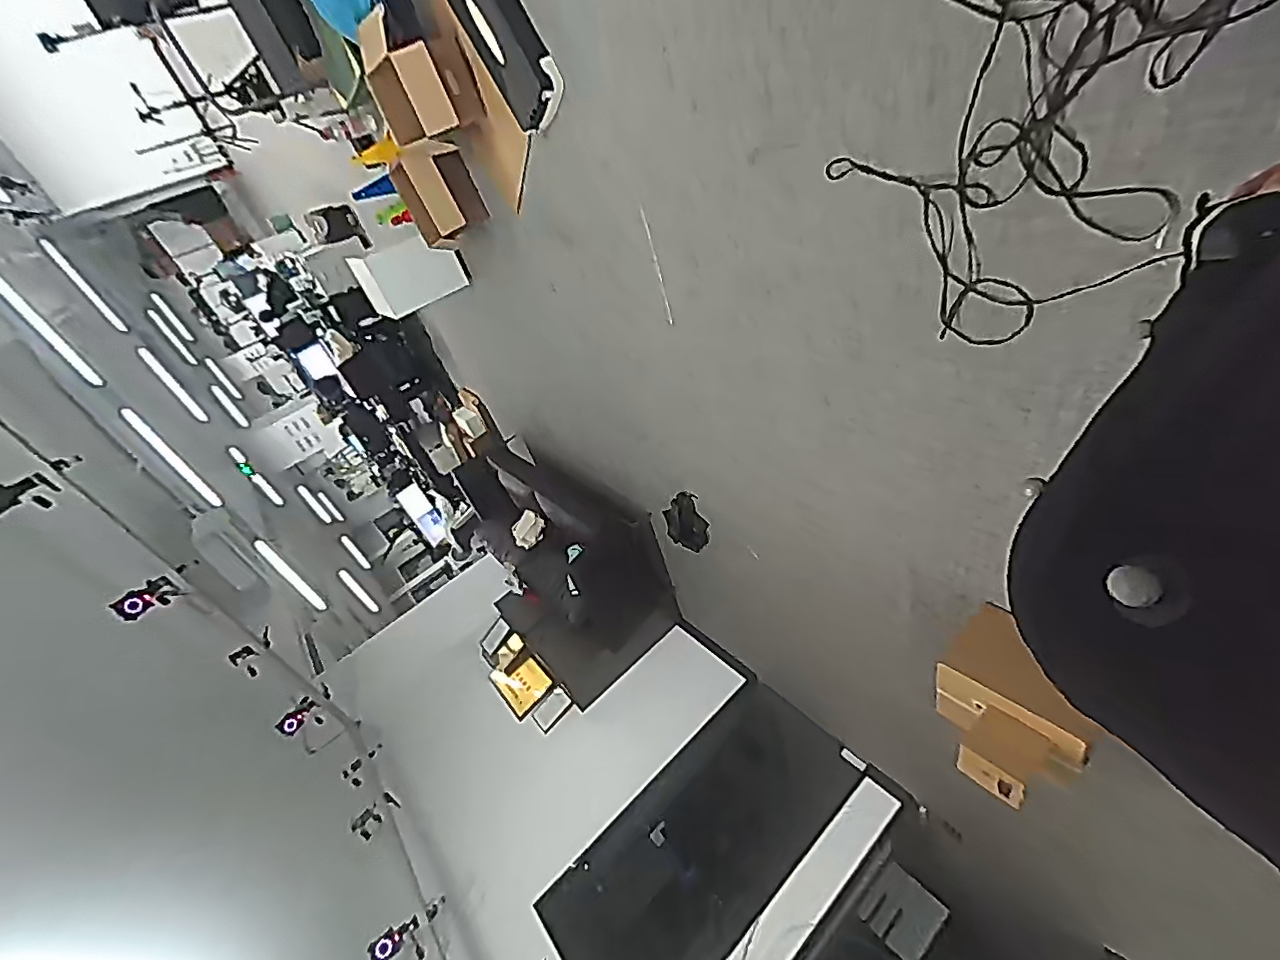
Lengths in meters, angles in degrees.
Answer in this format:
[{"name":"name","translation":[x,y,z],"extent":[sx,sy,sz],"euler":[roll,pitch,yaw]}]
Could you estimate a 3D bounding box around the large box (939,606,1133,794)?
[{"name":"large box","translation":[1.246,0.684,1.733],"extent":[0.408,0.320,0.320],"euler":[29,146,49]}]
